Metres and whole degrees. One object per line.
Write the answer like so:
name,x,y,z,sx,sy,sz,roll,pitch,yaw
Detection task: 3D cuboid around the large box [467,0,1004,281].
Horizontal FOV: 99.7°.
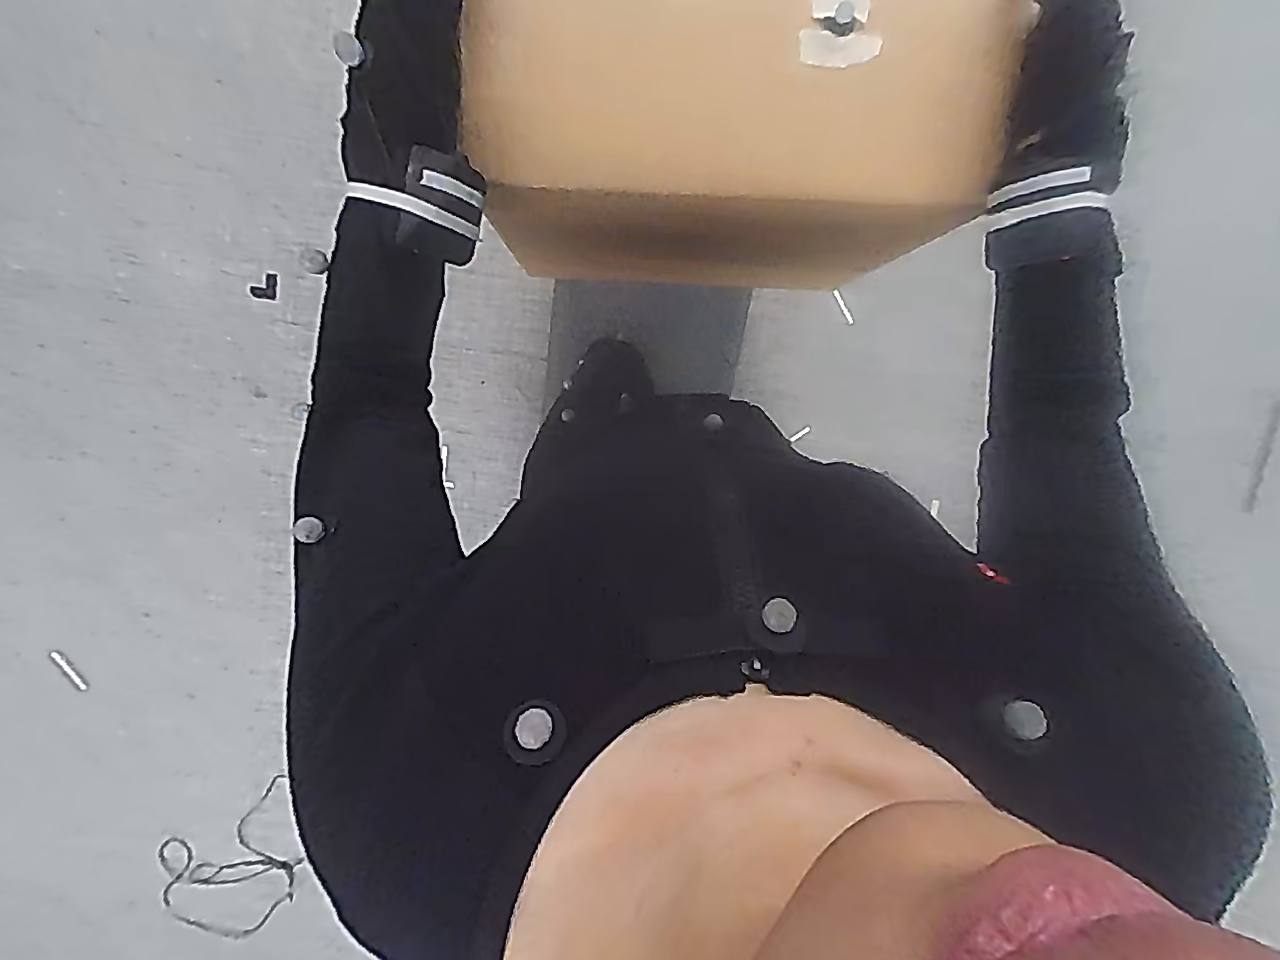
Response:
large box,0.065,-0.394,0.539,0.408,0.320,0.320,1,98,-3
